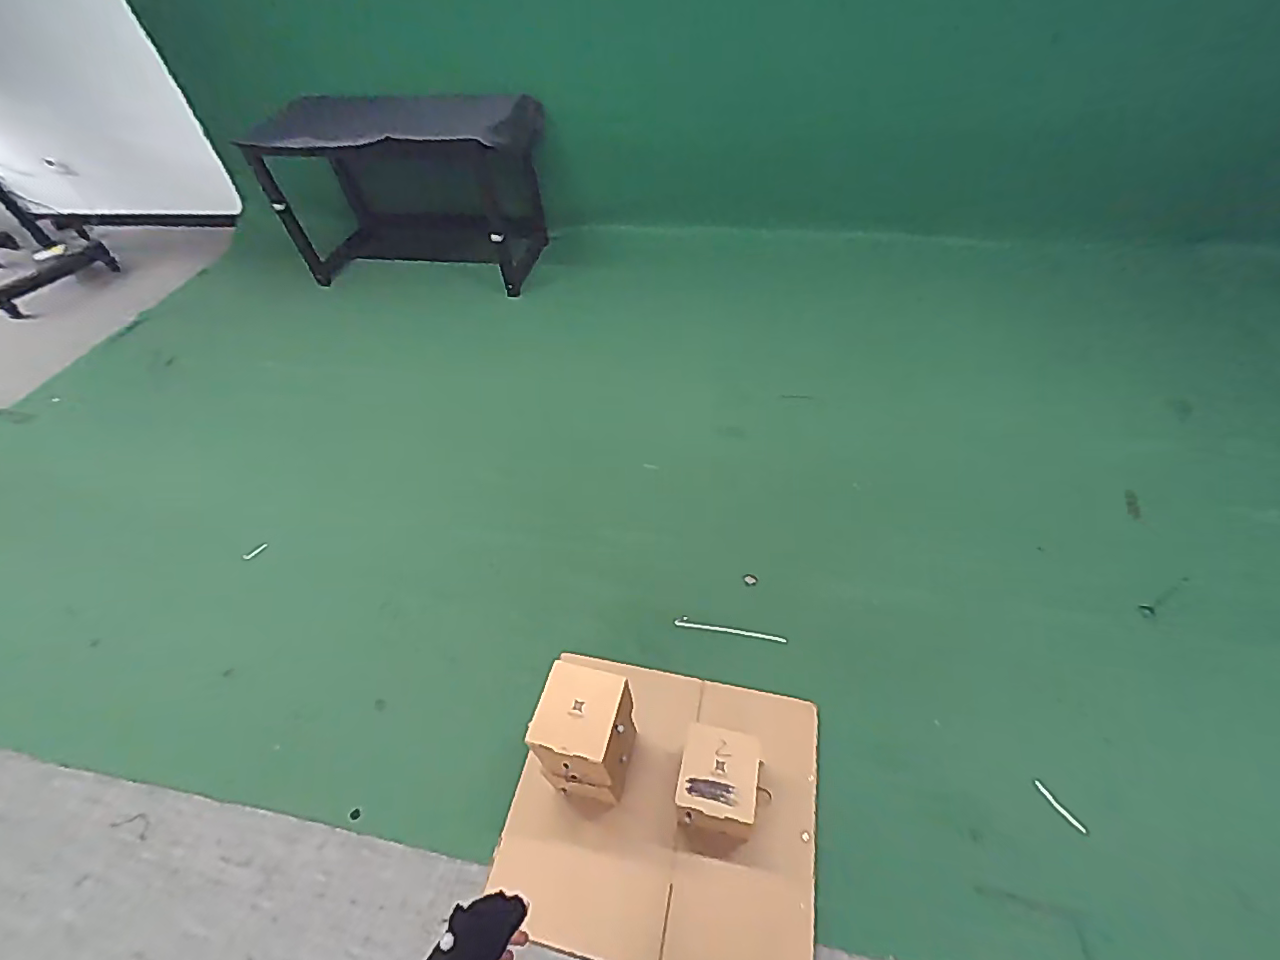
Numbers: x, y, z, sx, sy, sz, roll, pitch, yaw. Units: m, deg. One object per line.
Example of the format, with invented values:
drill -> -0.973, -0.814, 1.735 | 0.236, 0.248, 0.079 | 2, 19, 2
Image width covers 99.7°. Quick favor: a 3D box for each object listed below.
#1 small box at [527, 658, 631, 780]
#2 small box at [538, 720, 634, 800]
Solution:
small box -> -0.121, 0.515, 1.162 | 0.168, 0.176, 0.179 | 9, 50, 13
small box -> -0.117, 0.630, 1.277 | 0.168, 0.176, 0.179 | 8, 49, 13
